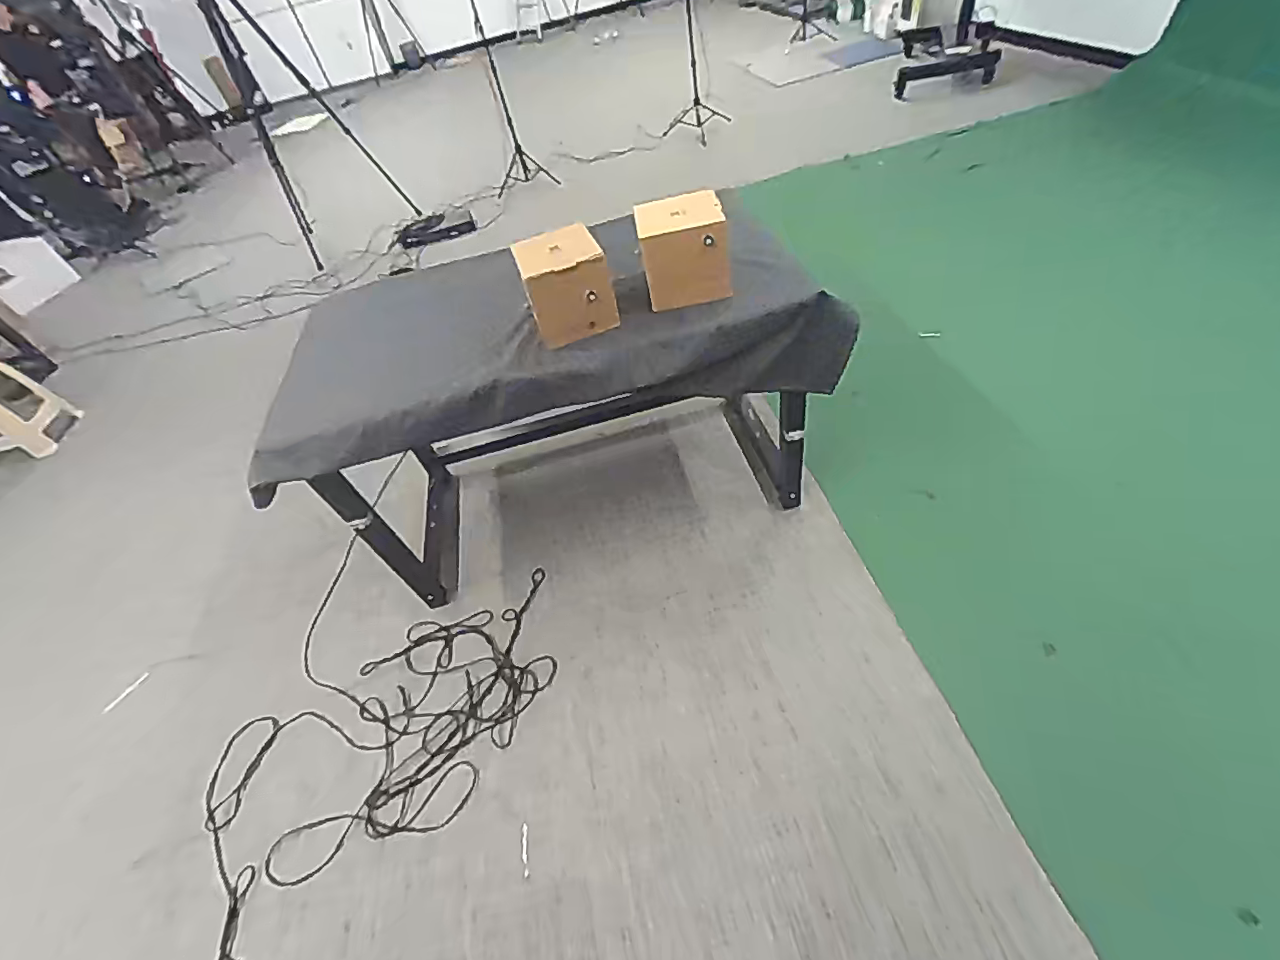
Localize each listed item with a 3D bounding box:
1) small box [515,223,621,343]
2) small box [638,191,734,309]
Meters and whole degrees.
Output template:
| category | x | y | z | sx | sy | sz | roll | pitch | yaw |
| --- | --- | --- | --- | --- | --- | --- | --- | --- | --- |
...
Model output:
| category | x | y | z | sx | sy | sz | roll | pitch | yaw |
| --- | --- | --- | --- | --- | --- | --- | --- | --- | --- |
| small box | -0.150 | -0.412 | 1.150 | 0.168 | 0.176 | 0.179 | -20 | 46 | -6 |
| small box | 0.099 | -0.487 | 1.158 | 0.179 | 0.176 | 0.168 | -10 | 47 | 4 |
